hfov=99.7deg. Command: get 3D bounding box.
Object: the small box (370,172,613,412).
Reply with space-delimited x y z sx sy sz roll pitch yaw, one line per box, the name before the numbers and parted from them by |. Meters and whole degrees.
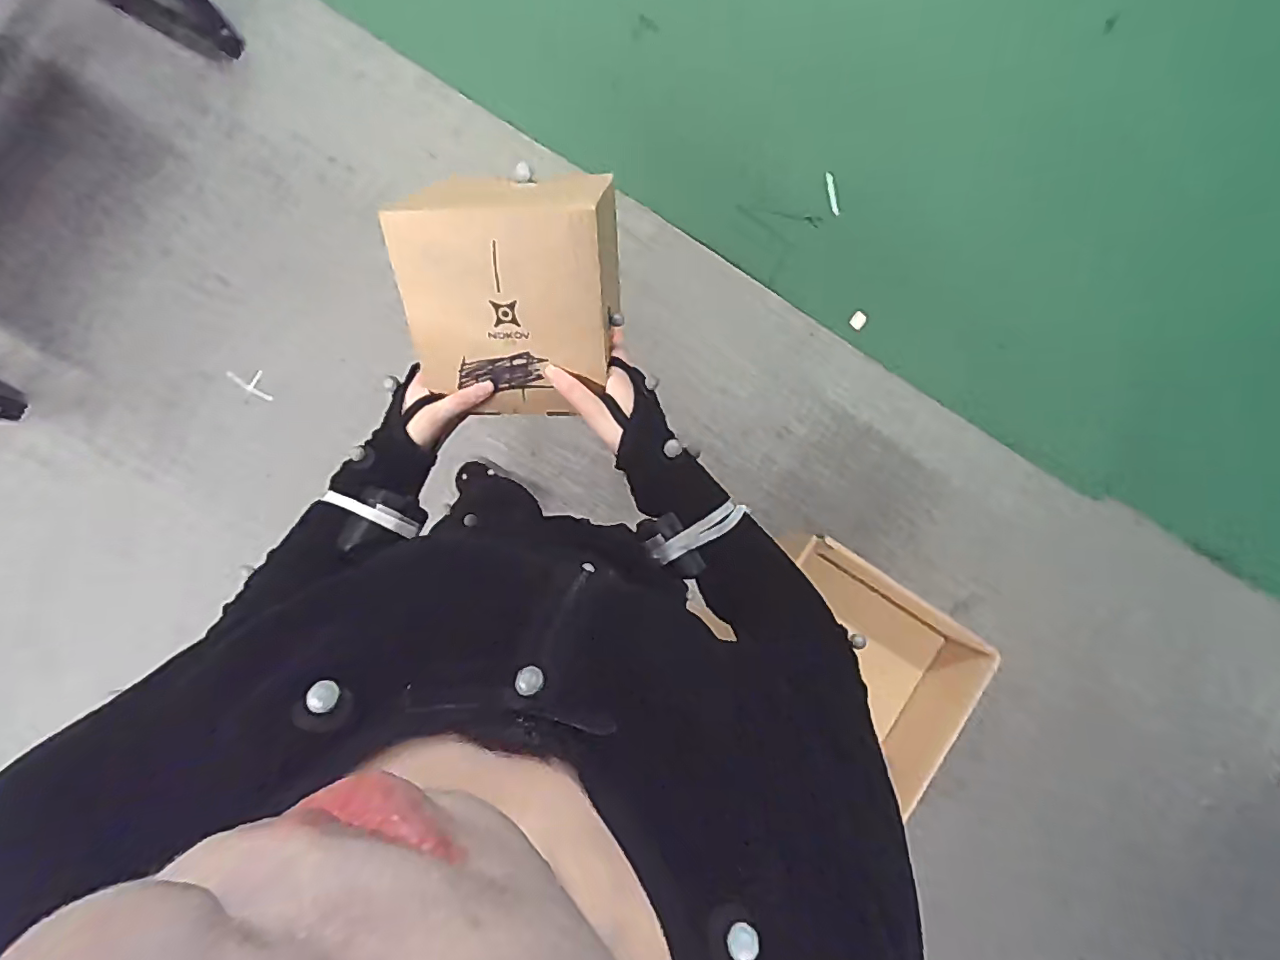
small box | -0.116 -0.181 0.513 0.168 0.176 0.179 0 126 3
